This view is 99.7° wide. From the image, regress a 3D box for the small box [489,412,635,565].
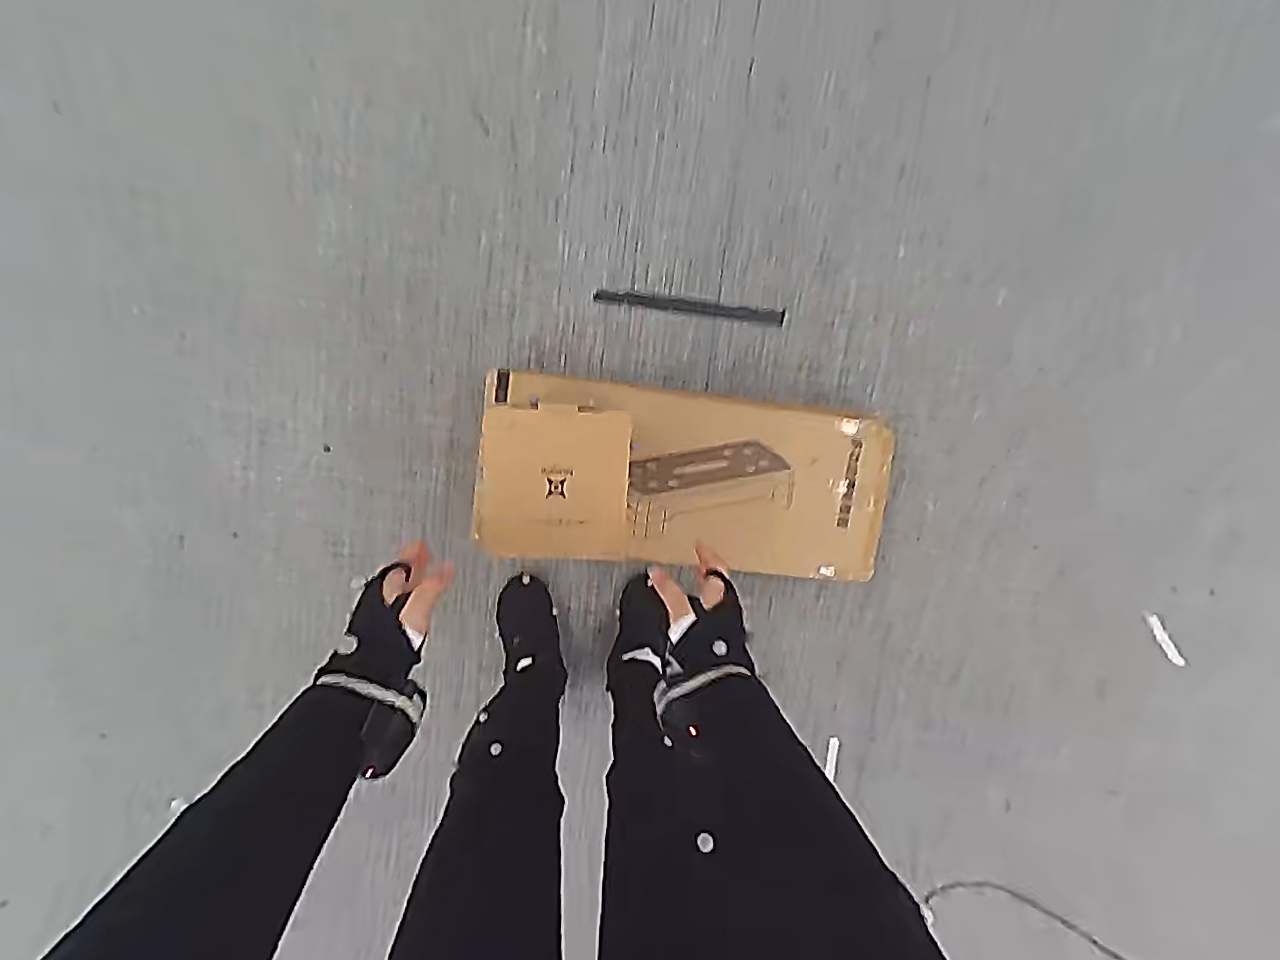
[{"bbox_3d":[-0.097,0.003,0.699,0.168,0.176,0.179,1,97,-4],"label":"small box"}]
